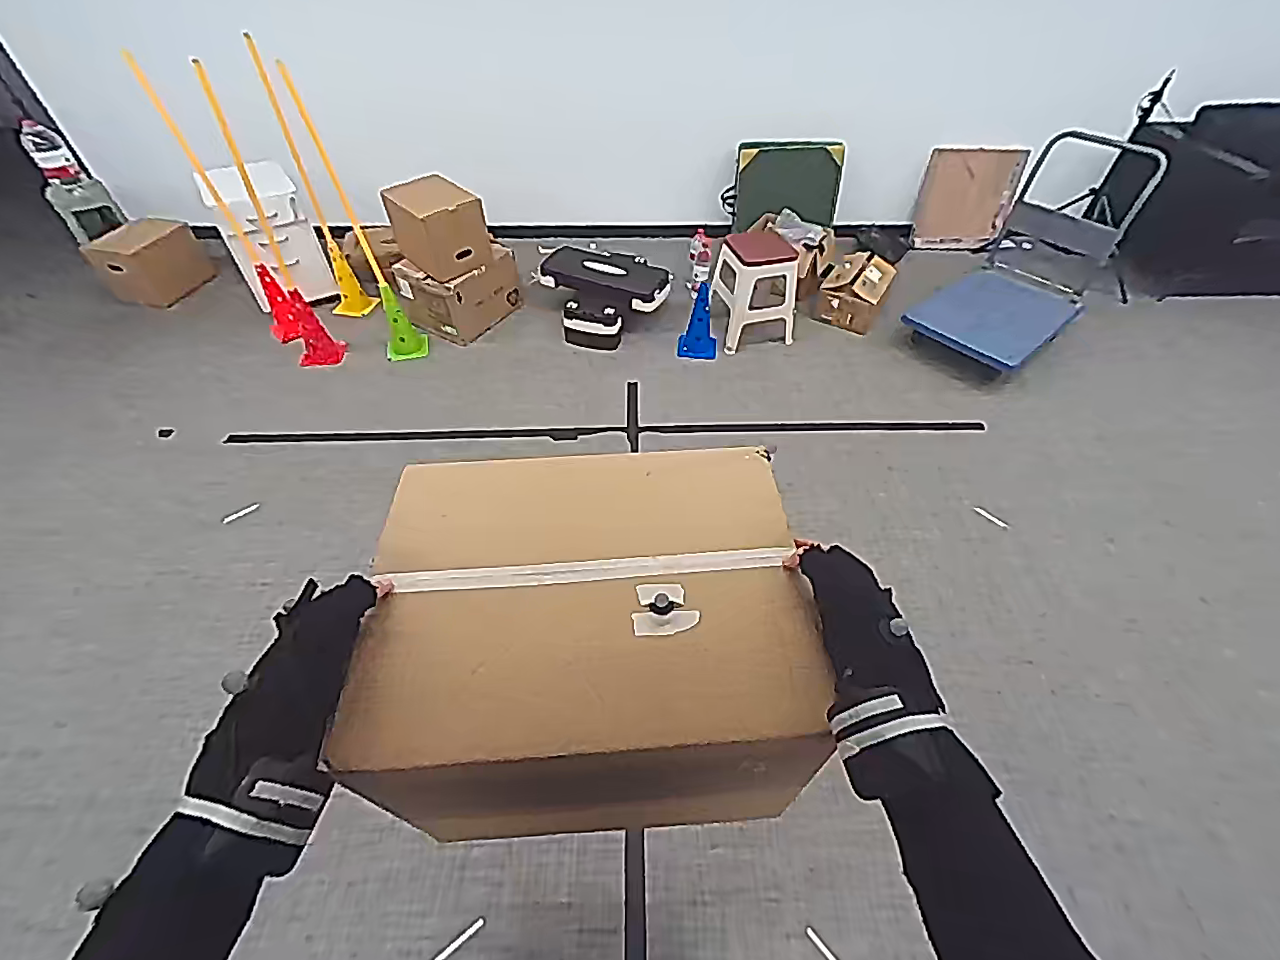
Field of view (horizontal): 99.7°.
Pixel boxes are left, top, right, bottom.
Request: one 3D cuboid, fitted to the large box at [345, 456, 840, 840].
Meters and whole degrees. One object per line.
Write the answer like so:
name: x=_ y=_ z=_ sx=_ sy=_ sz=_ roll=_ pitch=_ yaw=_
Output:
large box: x=-0.045 y=0.197 z=0.635 sx=0.408 sy=0.320 sz=0.320 roll=-3 pitch=48 yaw=-2
